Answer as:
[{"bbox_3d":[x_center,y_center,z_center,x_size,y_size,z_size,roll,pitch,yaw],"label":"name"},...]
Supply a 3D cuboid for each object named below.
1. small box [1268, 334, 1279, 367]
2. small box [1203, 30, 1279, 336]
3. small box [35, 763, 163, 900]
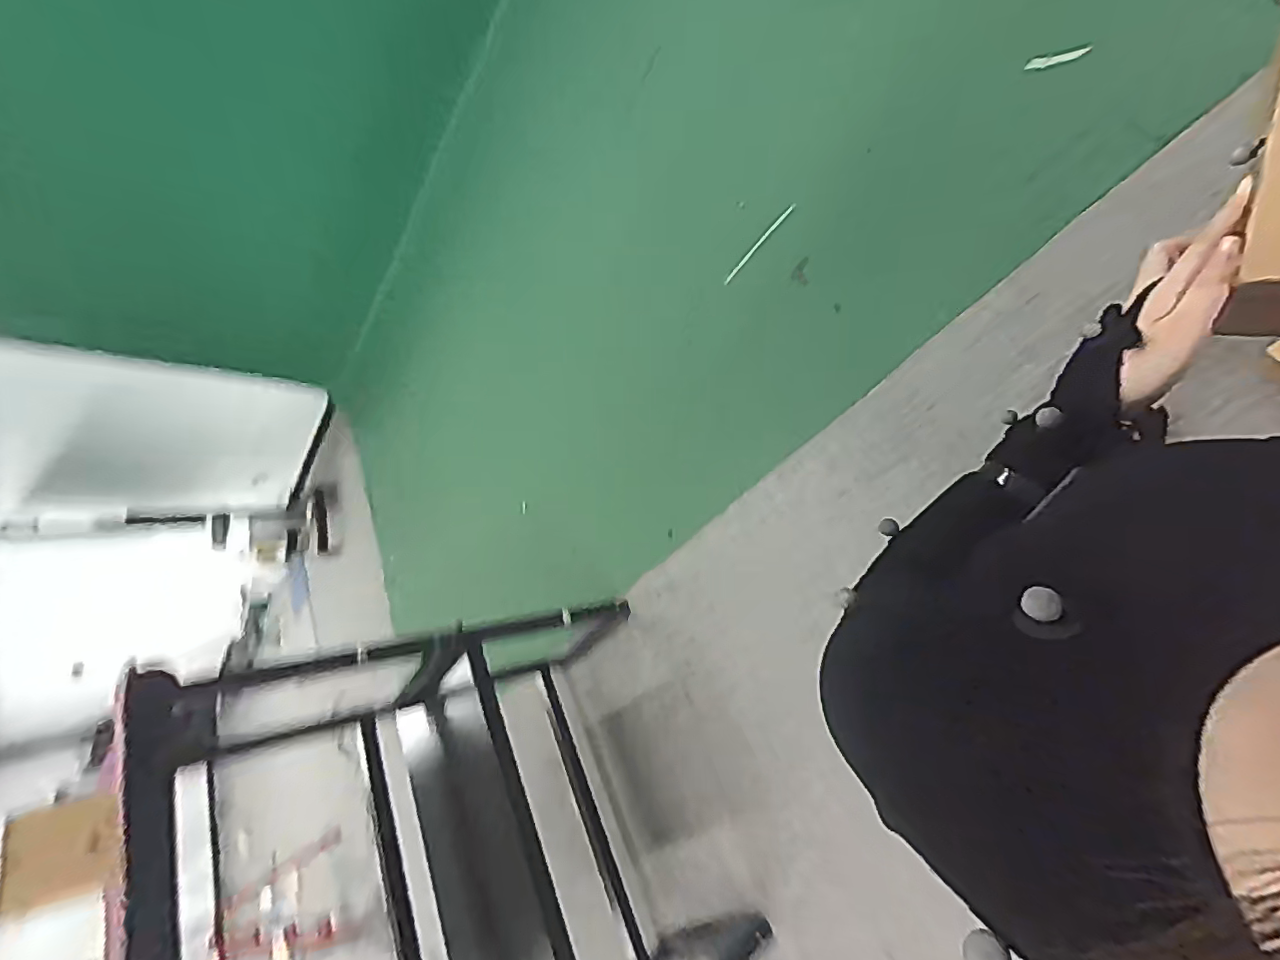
[{"bbox_3d":[1.216,-0.221,0.899,0.179,0.176,0.168,-41,62,37],"label":"small box"},{"bbox_3d":[0.484,-0.195,0.333,0.168,0.176,0.179,11,98,42],"label":"small box"},{"bbox_3d":[-1.078,0.697,1.083,0.179,0.176,0.168,-43,61,34],"label":"small box"}]
